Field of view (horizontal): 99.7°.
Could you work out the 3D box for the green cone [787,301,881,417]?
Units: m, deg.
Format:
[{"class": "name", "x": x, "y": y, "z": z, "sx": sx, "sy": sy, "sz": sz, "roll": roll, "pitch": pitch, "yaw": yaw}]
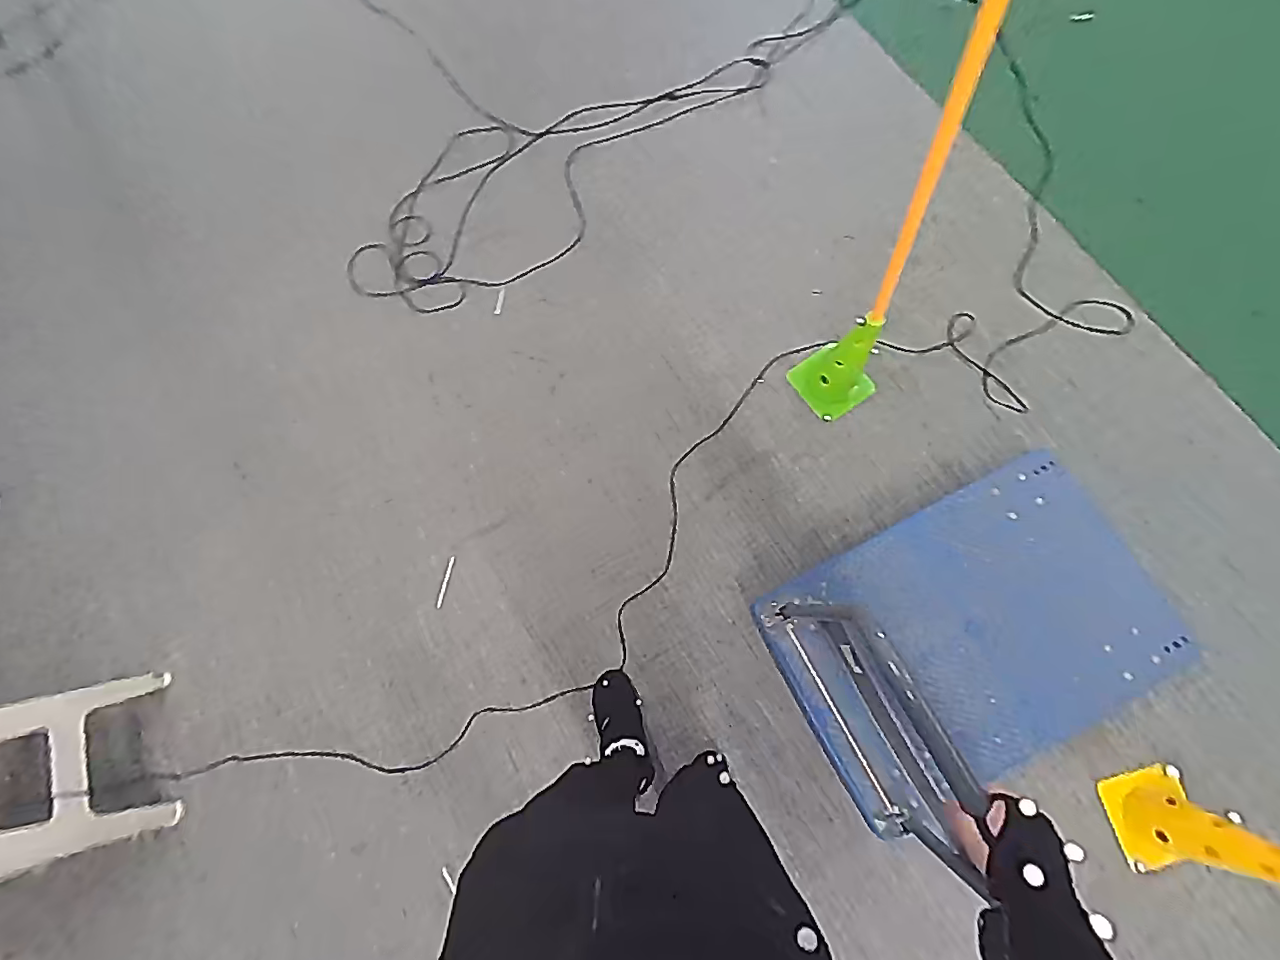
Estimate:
[{"class": "green cone", "x": 0.558, "y": -0.350, "z": 1.433, "sx": 0.200, "sy": 0.368, "sz": 0.202, "roll": -35, "pitch": 75, "yaw": -8}]
